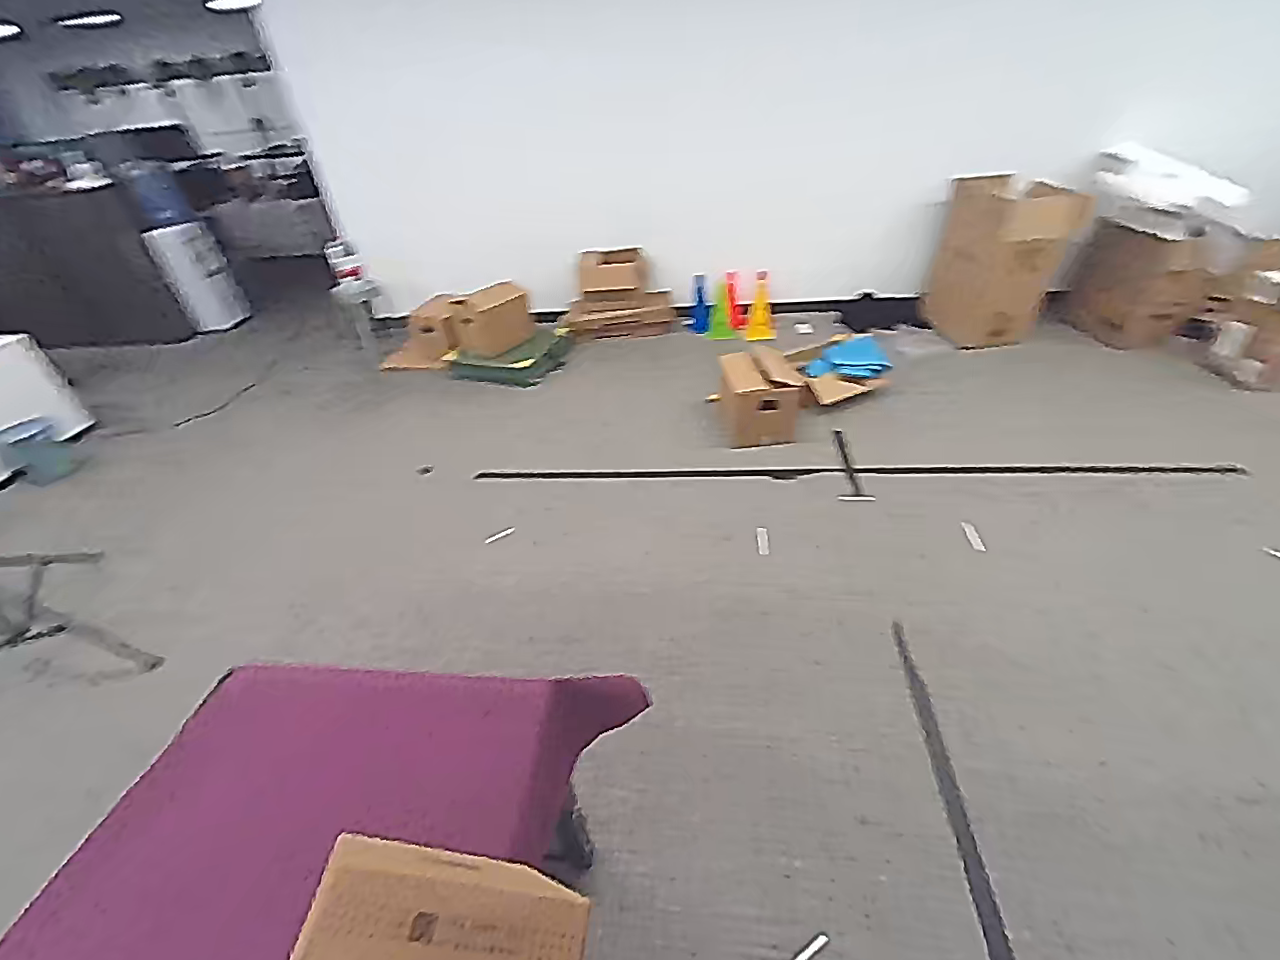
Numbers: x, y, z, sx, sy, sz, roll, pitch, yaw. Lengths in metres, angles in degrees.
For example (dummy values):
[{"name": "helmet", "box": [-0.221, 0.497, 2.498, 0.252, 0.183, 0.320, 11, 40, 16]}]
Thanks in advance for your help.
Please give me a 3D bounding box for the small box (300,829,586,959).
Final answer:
[{"name": "small box", "box": [-0.147, 0.350, 0.364, 0.168, 0.179, 0.176, 22, 58, -14]}]
